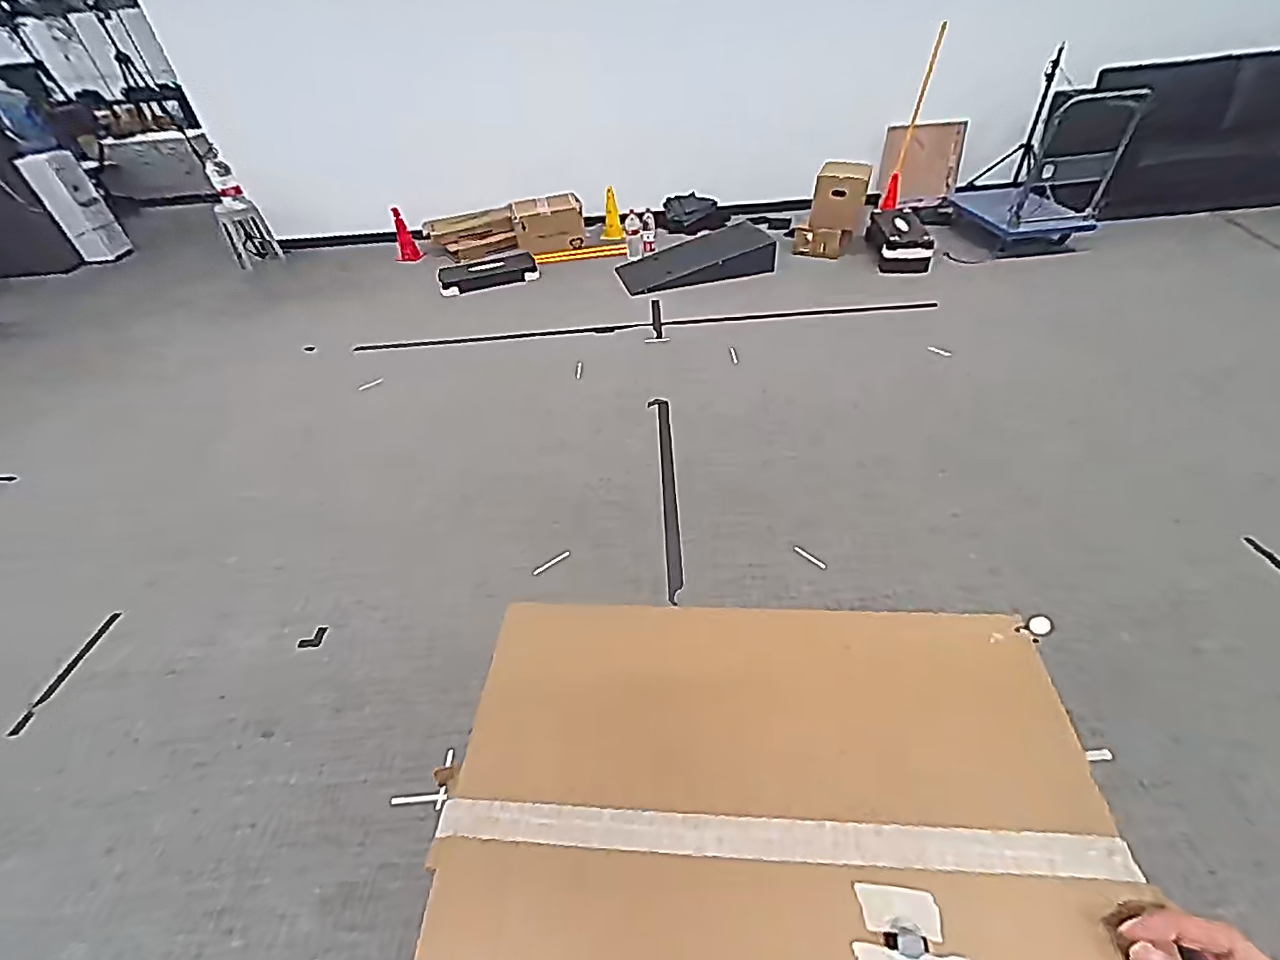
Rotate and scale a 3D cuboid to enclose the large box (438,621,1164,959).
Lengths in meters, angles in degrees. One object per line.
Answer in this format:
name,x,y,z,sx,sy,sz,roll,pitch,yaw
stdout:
large box,0.093,0.331,0.441,0.408,0.320,0.320,0,48,5
